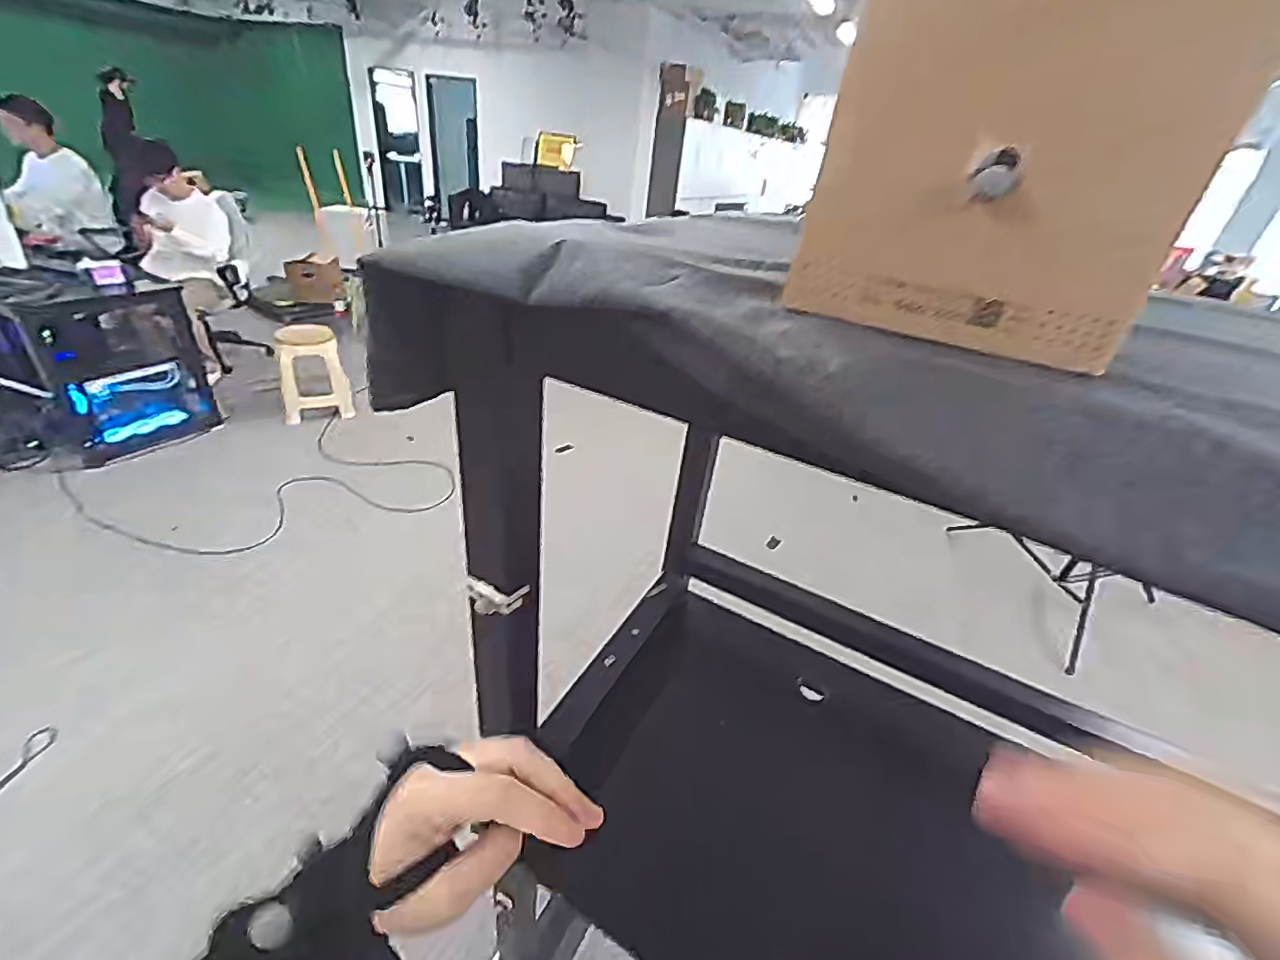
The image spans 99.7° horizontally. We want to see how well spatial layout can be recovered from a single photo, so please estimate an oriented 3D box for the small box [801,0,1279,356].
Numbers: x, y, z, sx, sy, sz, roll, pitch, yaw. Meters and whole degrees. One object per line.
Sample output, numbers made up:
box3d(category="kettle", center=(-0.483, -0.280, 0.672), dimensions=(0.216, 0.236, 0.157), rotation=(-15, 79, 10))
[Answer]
box3d(category="small box", center=(0.205, -0.184, 0.317), dimensions=(0.168, 0.176, 0.179), rotation=(20, 33, 17))
